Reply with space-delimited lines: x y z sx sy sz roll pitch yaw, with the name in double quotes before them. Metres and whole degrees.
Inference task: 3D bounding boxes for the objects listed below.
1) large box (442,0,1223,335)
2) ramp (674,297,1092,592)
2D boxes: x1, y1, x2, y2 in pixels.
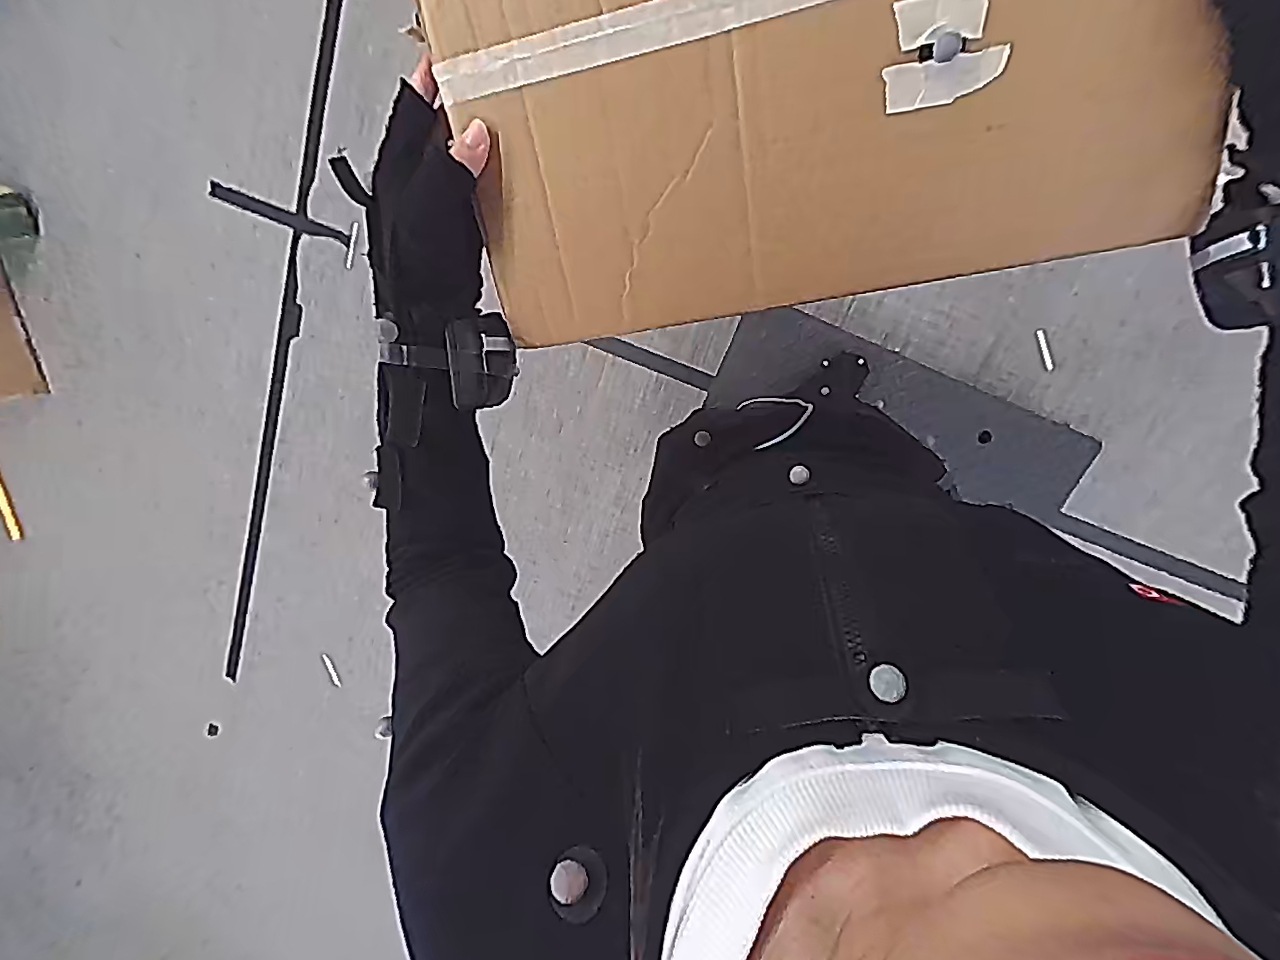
"large box" 0.103 -0.325 0.420 0.408 0.320 0.320 -7 114 10
"ramp" 0.637 -0.076 1.432 0.991 0.206 0.509 22 104 5
